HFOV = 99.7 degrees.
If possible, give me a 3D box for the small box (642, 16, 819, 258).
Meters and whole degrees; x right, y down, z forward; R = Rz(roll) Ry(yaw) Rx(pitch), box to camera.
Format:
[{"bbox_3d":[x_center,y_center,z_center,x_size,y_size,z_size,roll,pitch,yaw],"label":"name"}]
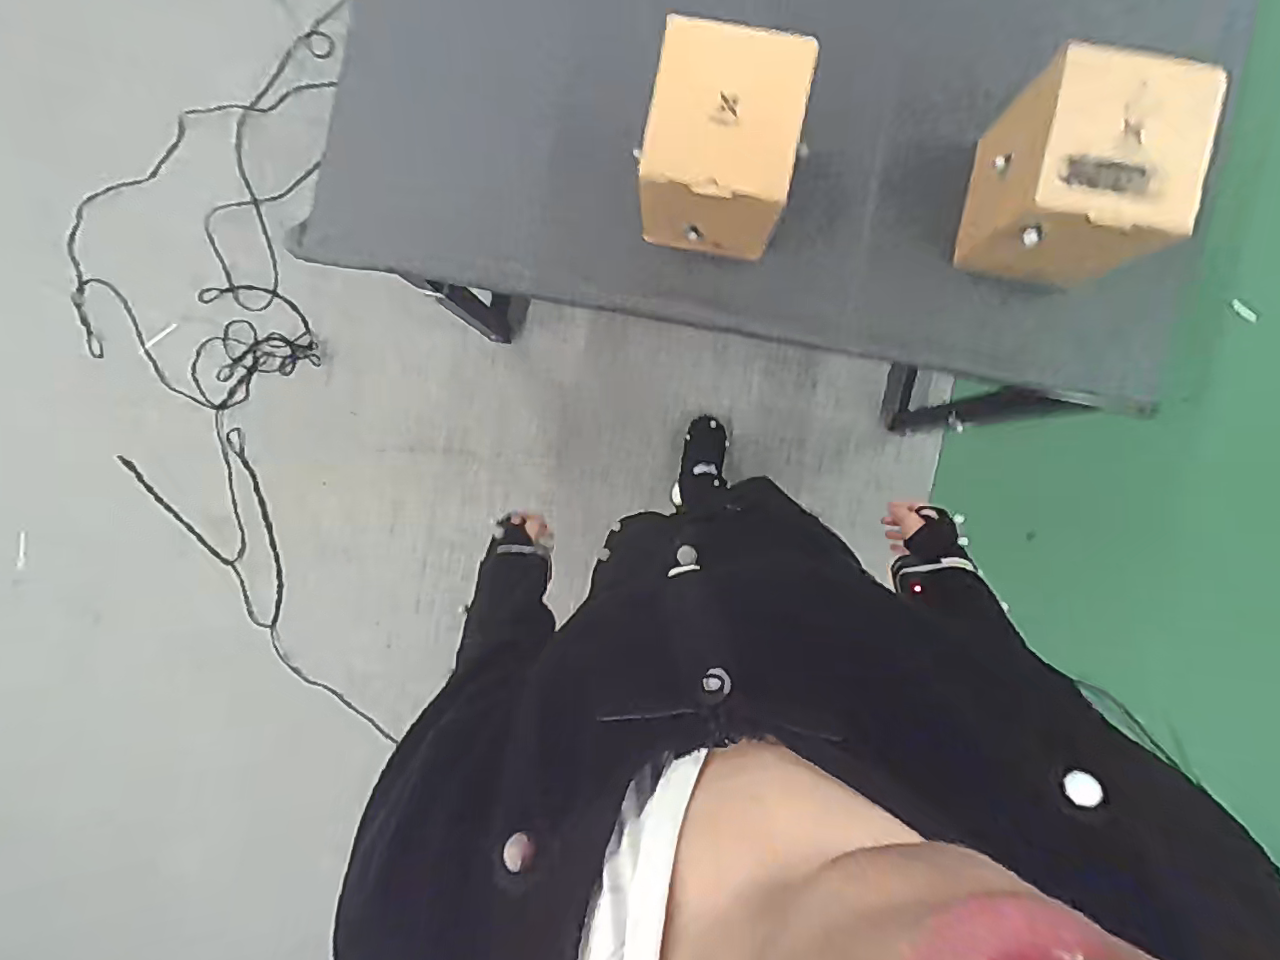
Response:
[{"bbox_3d":[0.099,-0.402,0.664,0.168,0.176,0.179,11,92,1],"label":"small box"}]
